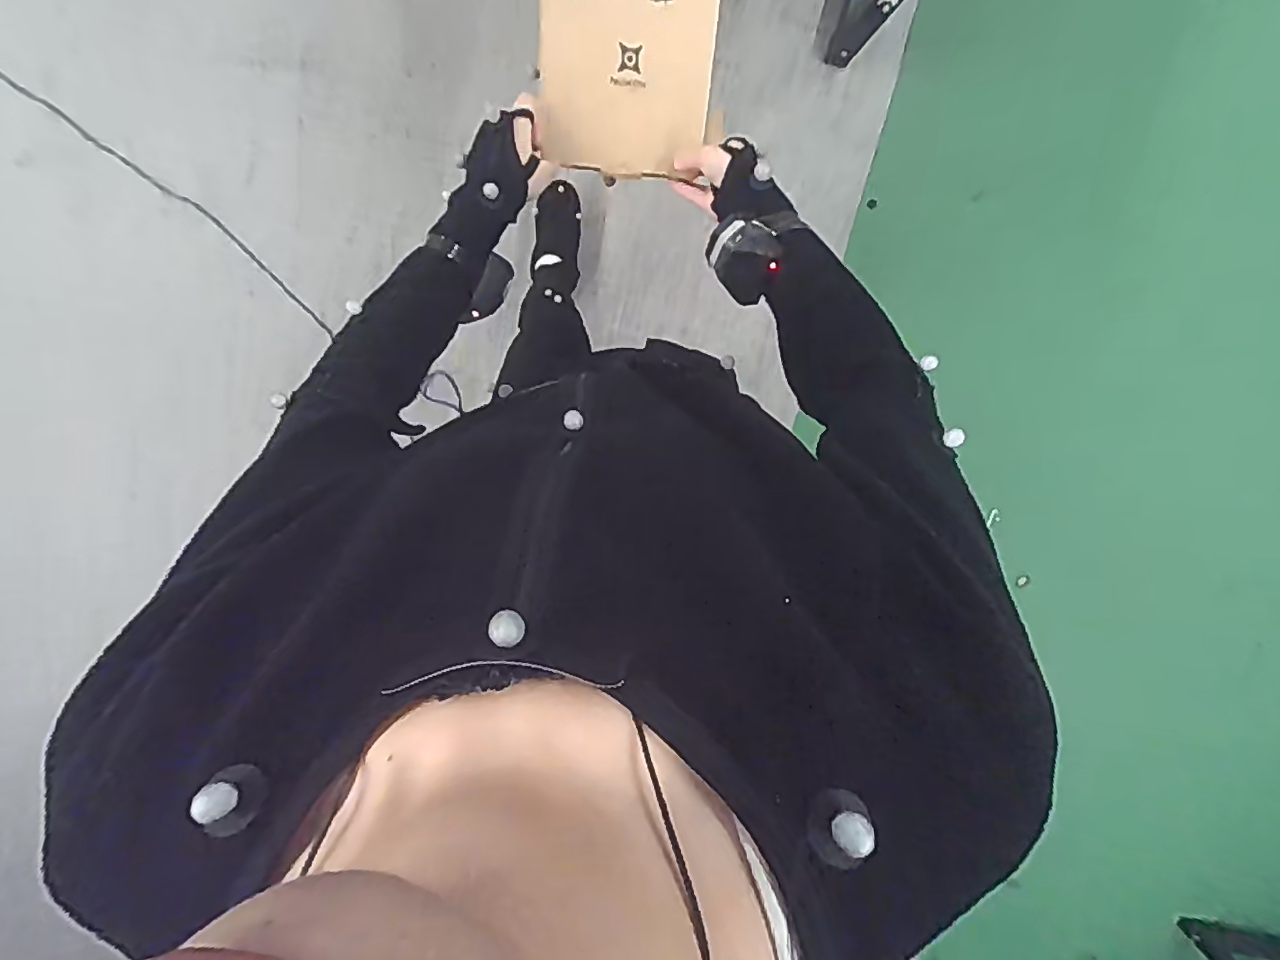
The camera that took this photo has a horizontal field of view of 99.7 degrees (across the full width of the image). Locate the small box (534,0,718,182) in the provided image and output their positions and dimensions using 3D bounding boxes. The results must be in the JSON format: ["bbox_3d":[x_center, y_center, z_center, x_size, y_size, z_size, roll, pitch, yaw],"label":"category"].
[{"bbox_3d":[-0.027,-0.433,0.581,0.168,0.176,0.179,0,121,-12],"label":"small box"}]

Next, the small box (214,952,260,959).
[{"bbox_3d":[-0.858,1.135,1.119,0.168,0.176,0.179,18,104,-6],"label":"small box"}]
